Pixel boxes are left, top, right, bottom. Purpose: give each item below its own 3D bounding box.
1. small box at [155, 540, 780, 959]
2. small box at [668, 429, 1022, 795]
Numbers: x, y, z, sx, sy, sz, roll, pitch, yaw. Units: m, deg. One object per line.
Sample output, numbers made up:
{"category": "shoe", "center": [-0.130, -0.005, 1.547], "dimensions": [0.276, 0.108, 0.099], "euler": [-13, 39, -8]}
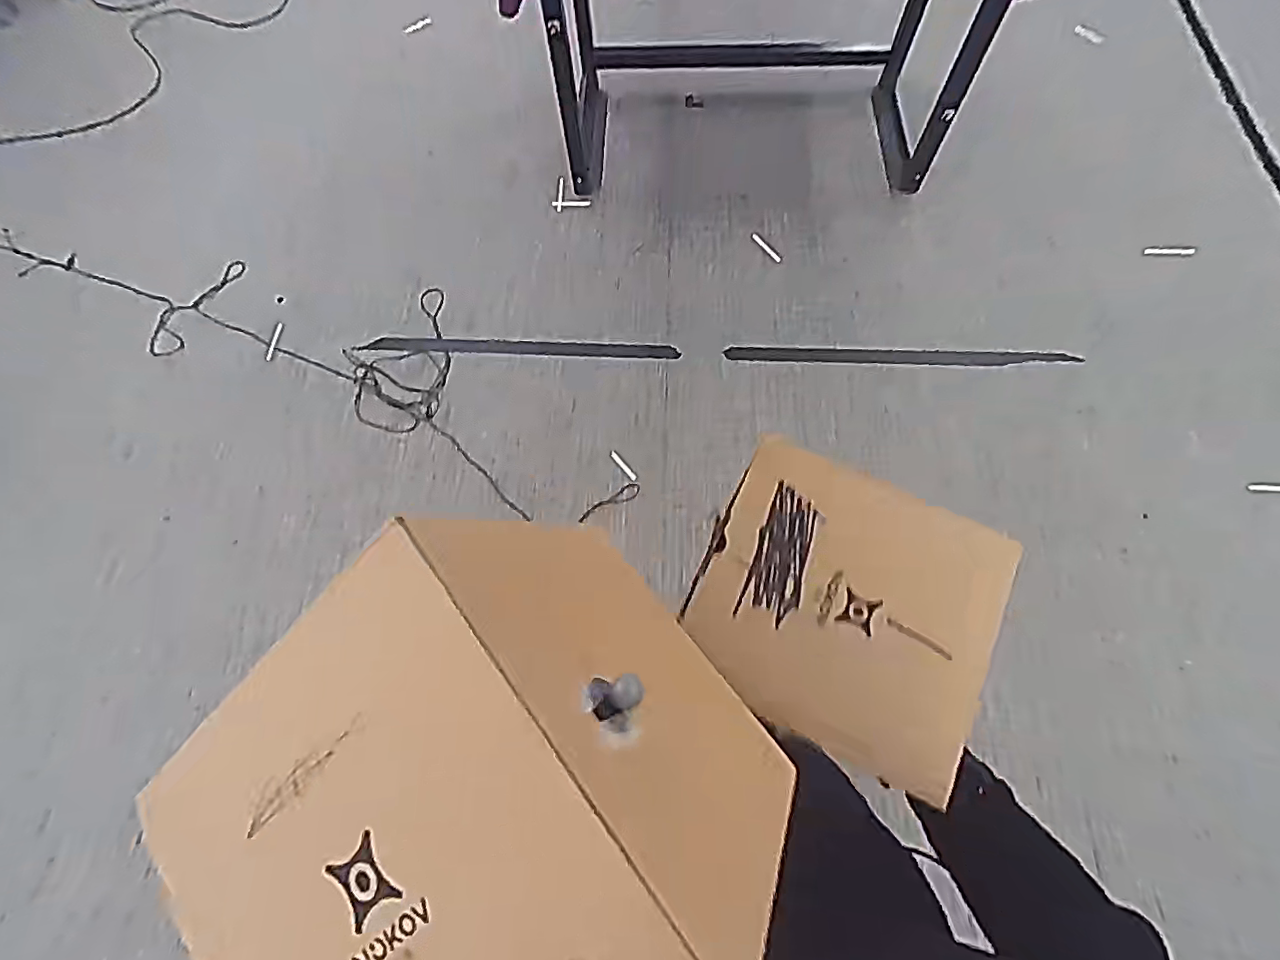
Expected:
{"category": "small box", "center": [-0.055, 0.141, 0.250], "dimensions": [0.168, 0.176, 0.179], "euler": [-45, 72, 9]}
{"category": "small box", "center": [0.126, 0.093, 0.406], "dimensions": [0.179, 0.176, 0.168], "euler": [26, 77, 7]}
